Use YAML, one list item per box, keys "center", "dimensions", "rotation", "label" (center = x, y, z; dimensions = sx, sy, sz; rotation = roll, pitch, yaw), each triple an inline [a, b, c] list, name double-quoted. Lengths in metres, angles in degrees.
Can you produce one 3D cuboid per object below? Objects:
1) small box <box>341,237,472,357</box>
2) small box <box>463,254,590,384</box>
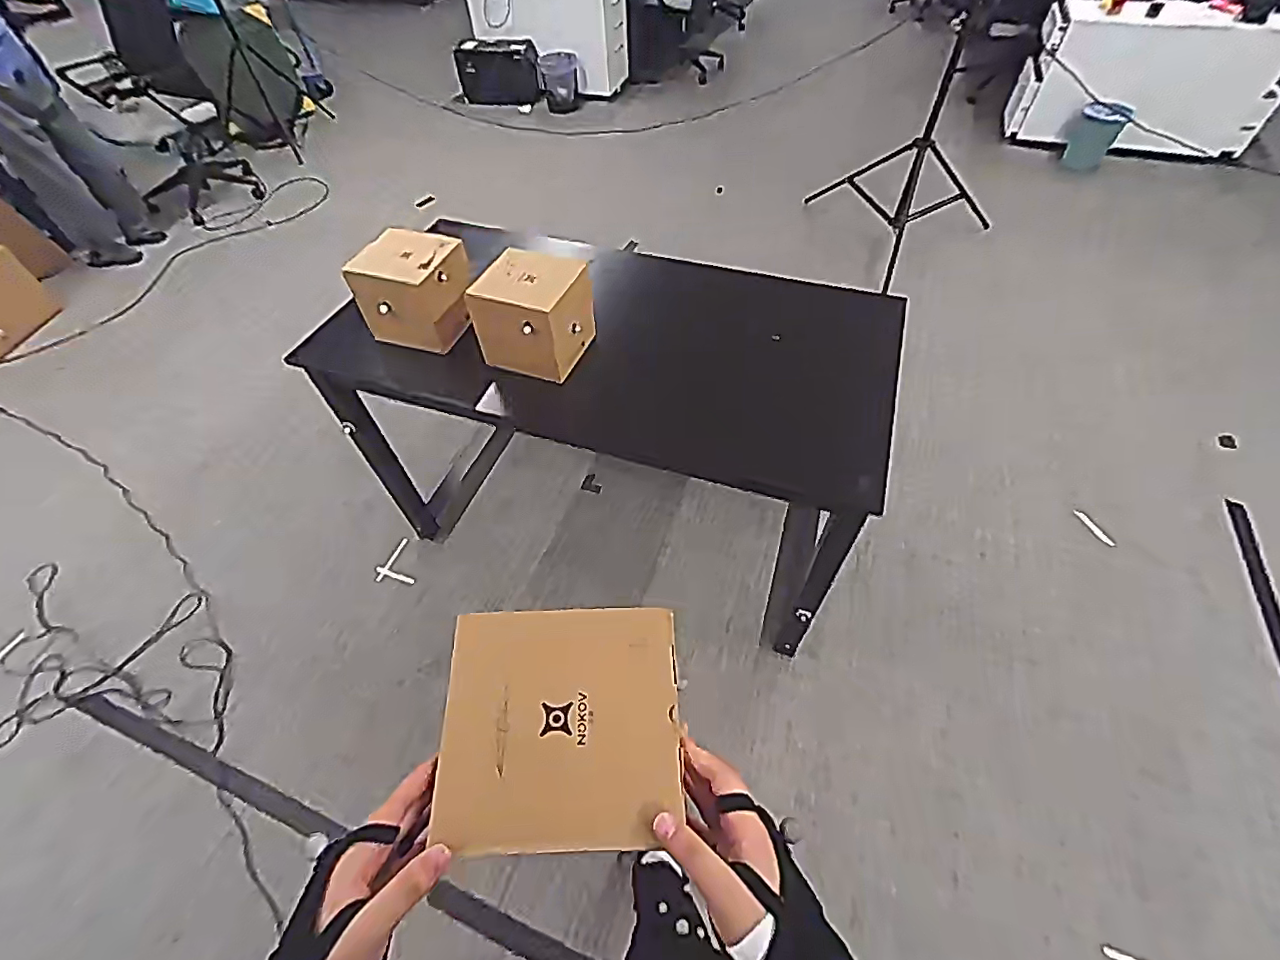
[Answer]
- center: [-0.467, -0.379, 1.126]
  dimensions: [0.179, 0.176, 0.168]
  rotation: [13, 54, 12]
  label: "small box"
- center: [-0.210, -0.312, 1.063]
  dimensions: [0.179, 0.176, 0.168]
  rotation: [16, 54, 14]
  label: "small box"
